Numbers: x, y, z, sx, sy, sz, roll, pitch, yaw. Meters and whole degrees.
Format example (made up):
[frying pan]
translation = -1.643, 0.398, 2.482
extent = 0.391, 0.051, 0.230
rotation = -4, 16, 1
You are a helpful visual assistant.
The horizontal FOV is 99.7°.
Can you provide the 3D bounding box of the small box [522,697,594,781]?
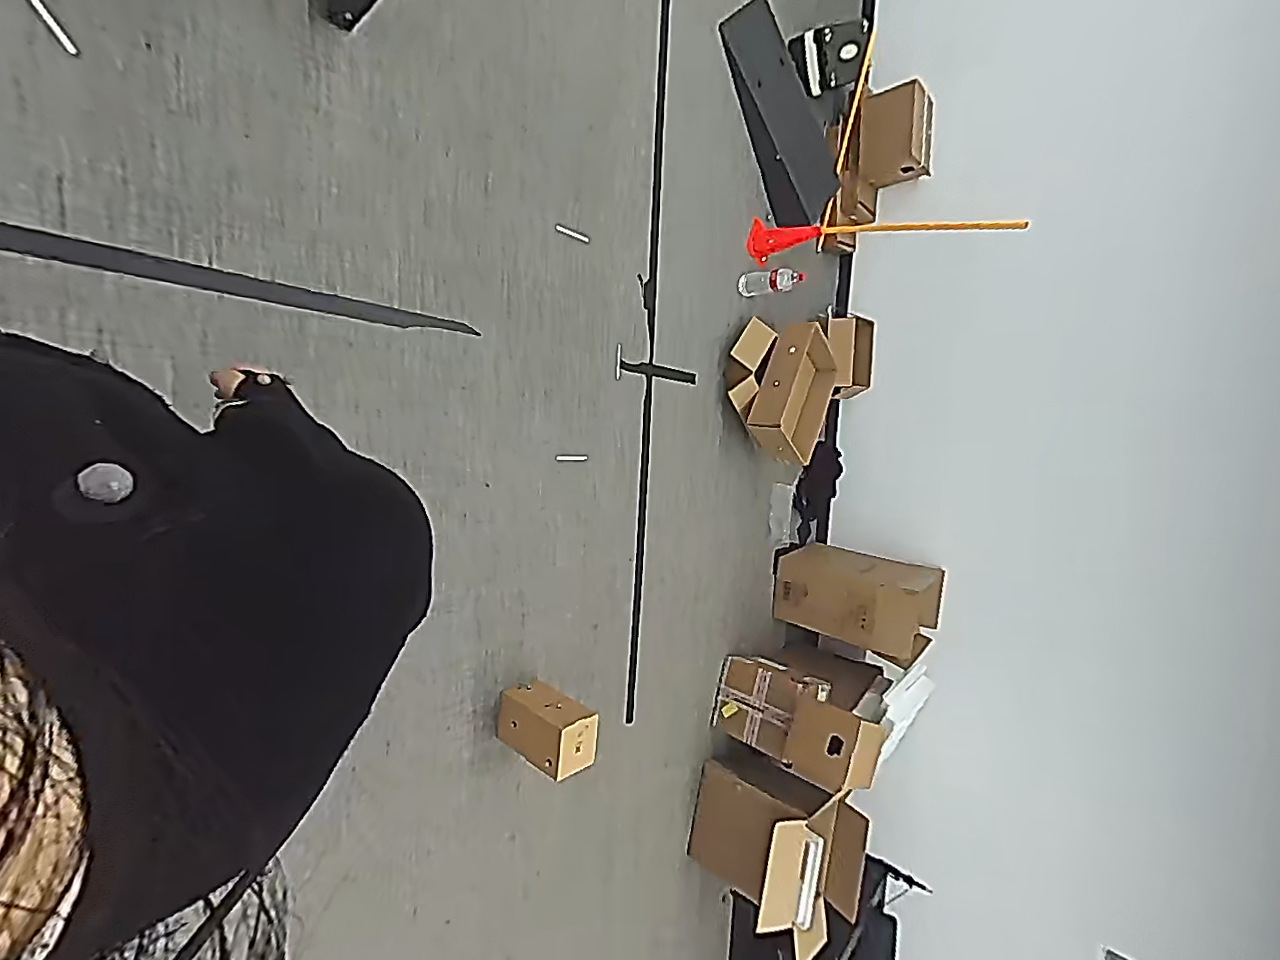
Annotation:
[small box]
translation = -0.276, 0.858, 1.806
extent = 0.168, 0.176, 0.179
rotation = 3, 93, -50
